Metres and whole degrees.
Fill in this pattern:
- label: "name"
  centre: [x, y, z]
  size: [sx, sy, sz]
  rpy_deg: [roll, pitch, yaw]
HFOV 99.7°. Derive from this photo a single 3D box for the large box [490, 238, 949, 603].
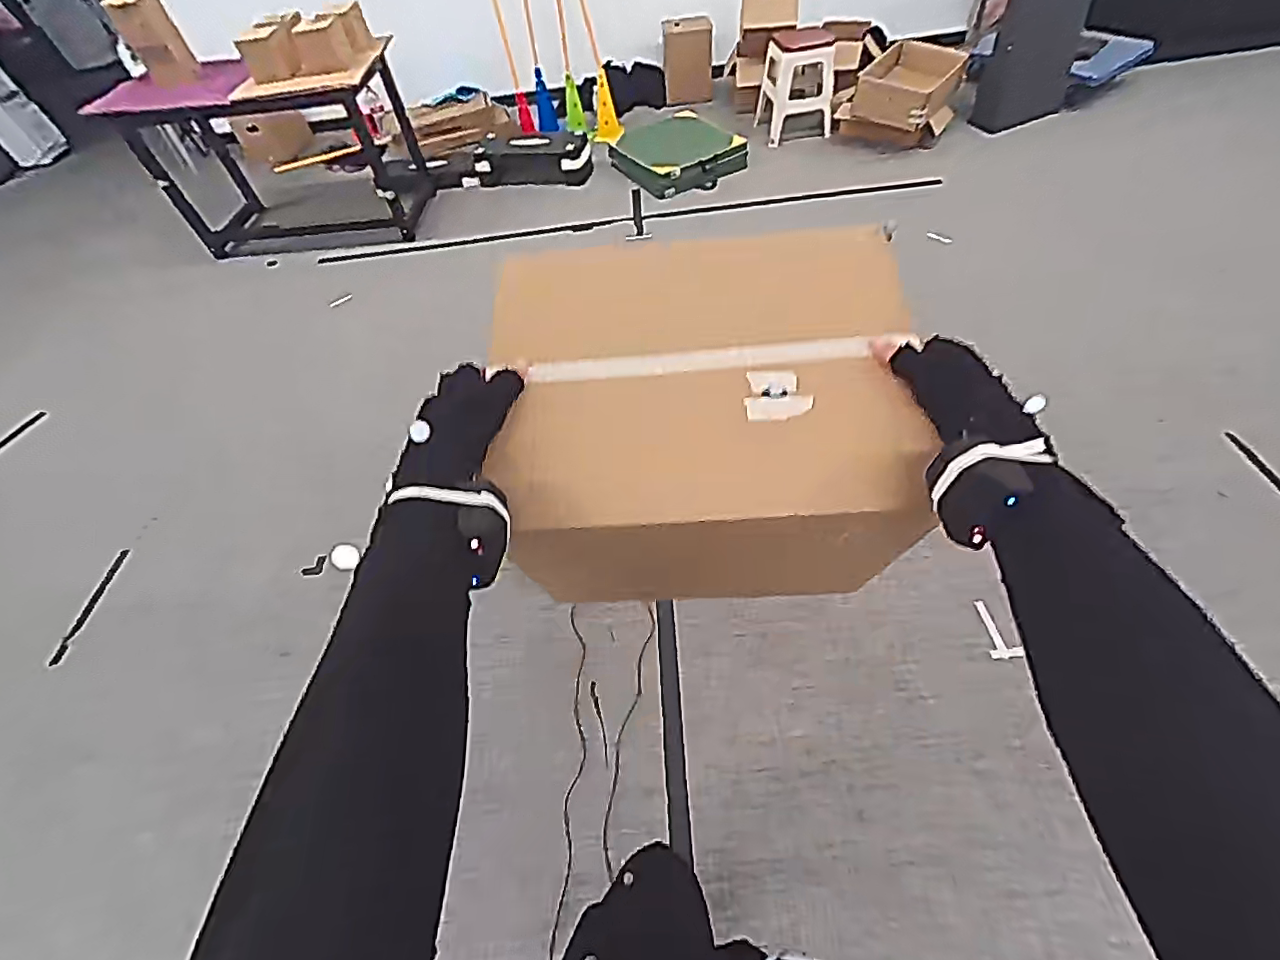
- label: "large box"
  centre: [0.067, -0.044, 0.657]
  size: [0.408, 0.320, 0.320]
  rpy_deg: [-4, 66, 3]
